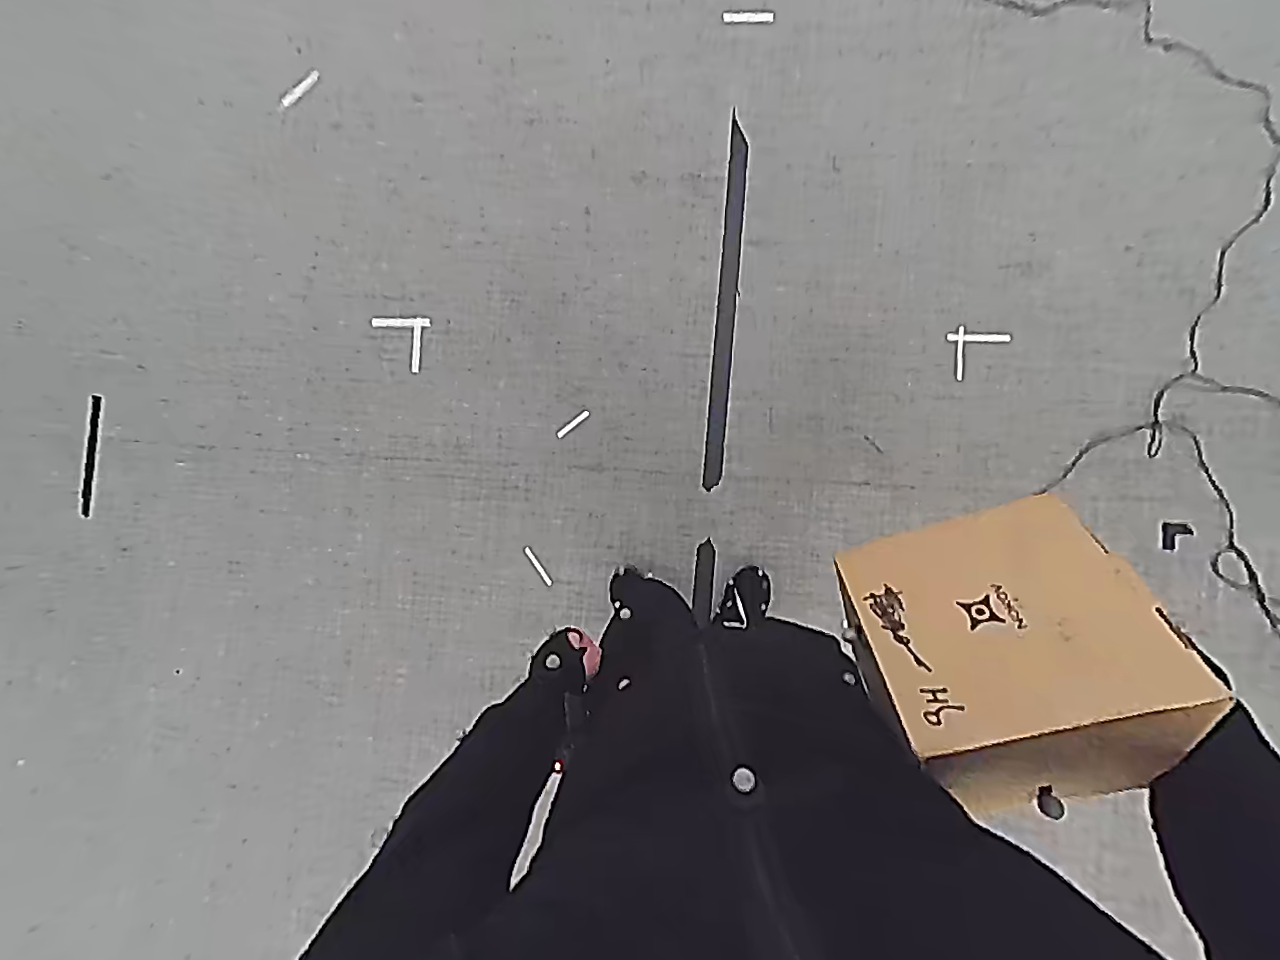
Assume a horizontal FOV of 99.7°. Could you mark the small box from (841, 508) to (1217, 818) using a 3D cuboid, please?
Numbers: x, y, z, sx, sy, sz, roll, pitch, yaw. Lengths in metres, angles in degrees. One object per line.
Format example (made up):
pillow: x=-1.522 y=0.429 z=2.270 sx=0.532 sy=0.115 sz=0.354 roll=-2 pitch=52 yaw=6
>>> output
small box: x=0.282 y=0.155 z=0.443 sx=0.179 sy=0.176 sz=0.168 roll=-17 pitch=42 yaw=12
